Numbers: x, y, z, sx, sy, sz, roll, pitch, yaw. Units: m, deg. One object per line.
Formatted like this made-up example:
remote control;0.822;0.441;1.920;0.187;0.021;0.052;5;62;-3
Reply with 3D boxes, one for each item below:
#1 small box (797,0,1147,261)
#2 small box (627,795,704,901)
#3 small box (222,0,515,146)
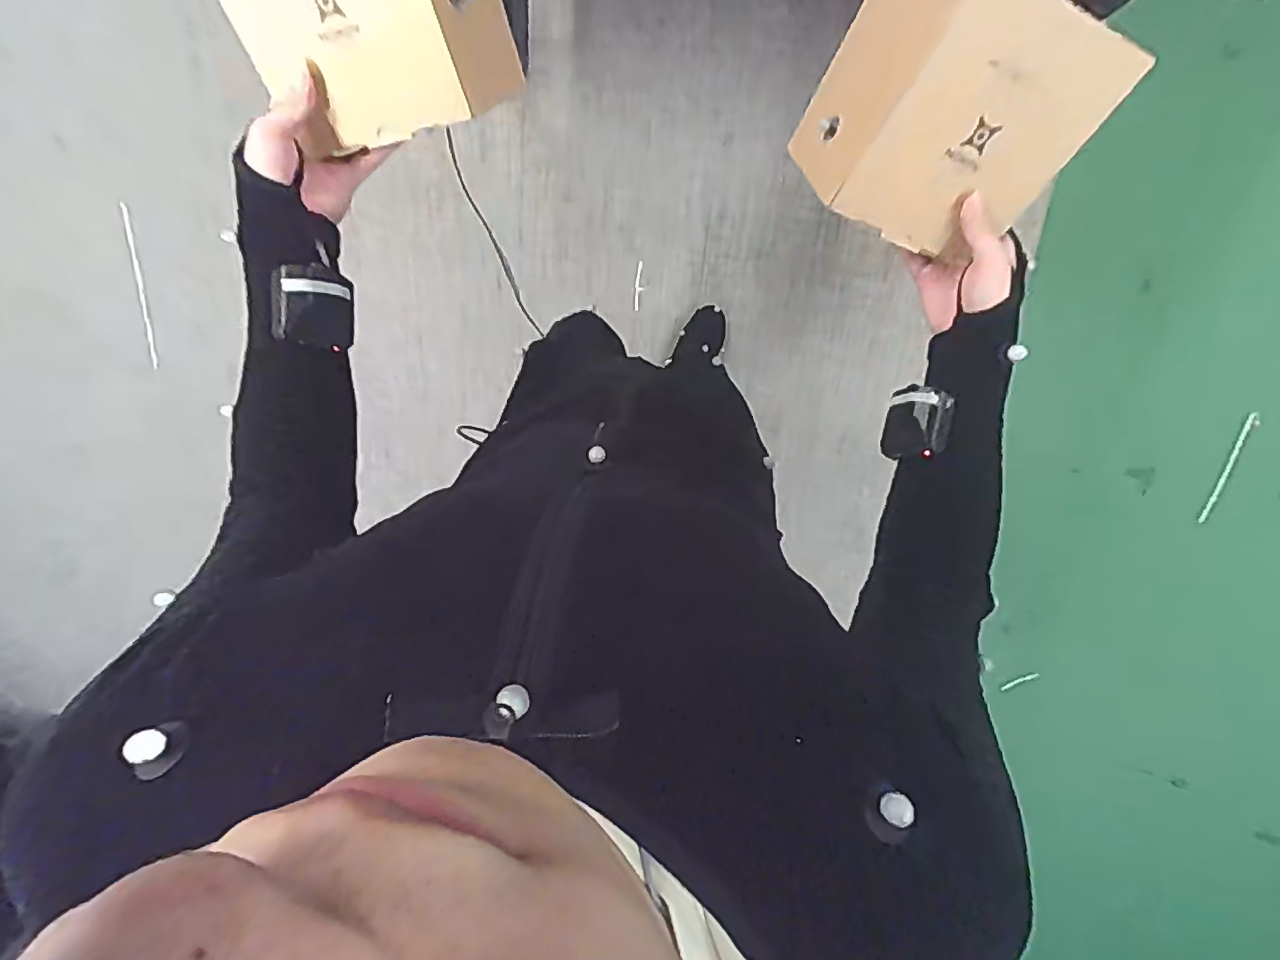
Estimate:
small box;0.259;-0.336;0.476;0.168;0.176;0.179;14;135;-17
small box;0.076;1.040;1.539;0.179;0.176;0.168;17;109;1
small box;-0.227;-0.415;0.460;0.168;0.176;0.179;-5;133;12
